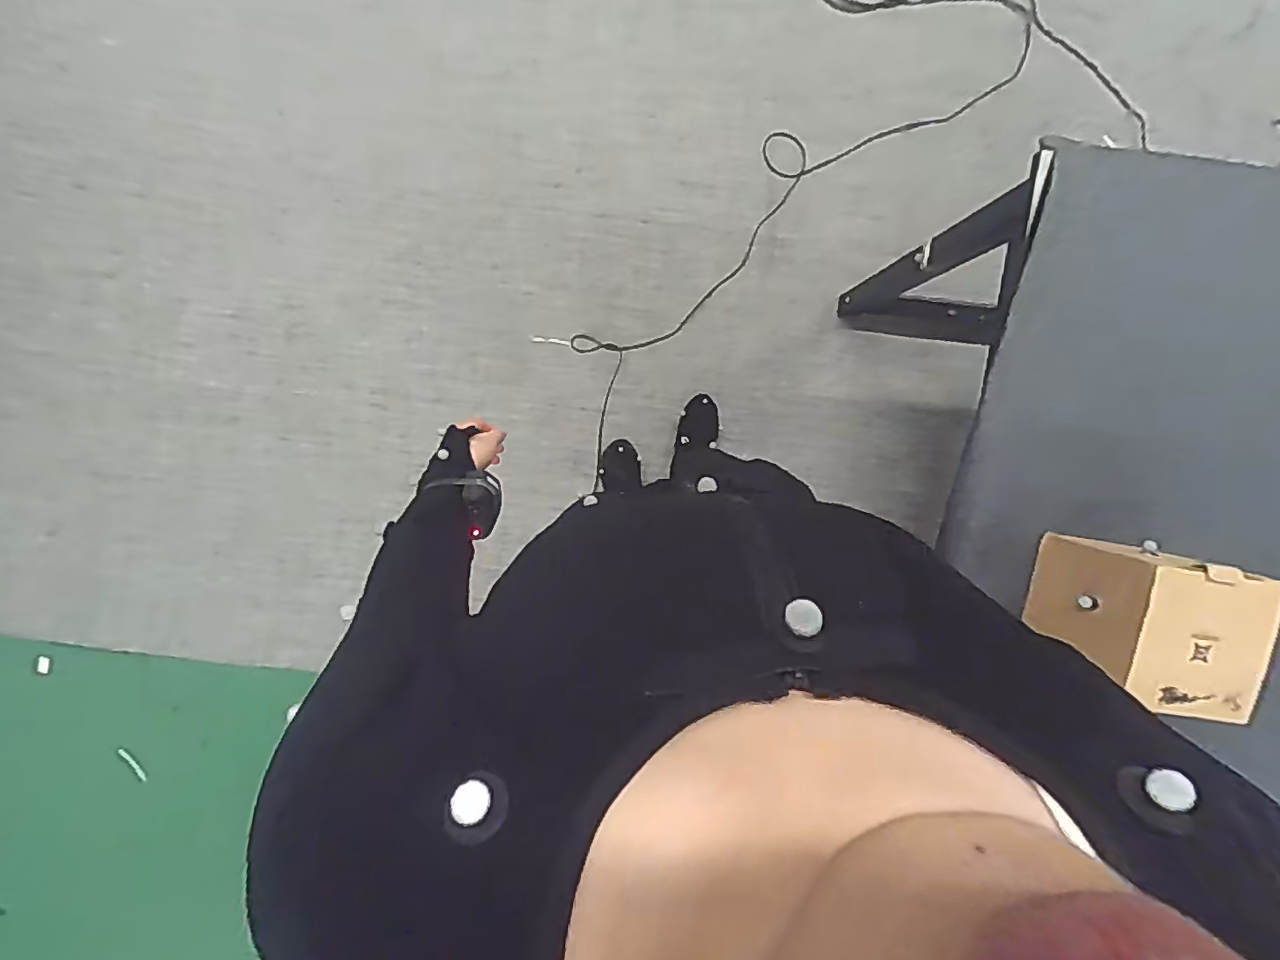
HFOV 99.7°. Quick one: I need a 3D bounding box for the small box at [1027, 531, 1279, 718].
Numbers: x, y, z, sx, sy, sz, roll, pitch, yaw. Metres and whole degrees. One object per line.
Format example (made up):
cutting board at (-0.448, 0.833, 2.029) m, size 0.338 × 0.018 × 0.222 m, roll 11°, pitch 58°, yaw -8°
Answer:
small box at (0.638, 0.169, 0.687) m, size 0.168 × 0.176 × 0.179 m, roll 9°, pitch 95°, yaw -3°
